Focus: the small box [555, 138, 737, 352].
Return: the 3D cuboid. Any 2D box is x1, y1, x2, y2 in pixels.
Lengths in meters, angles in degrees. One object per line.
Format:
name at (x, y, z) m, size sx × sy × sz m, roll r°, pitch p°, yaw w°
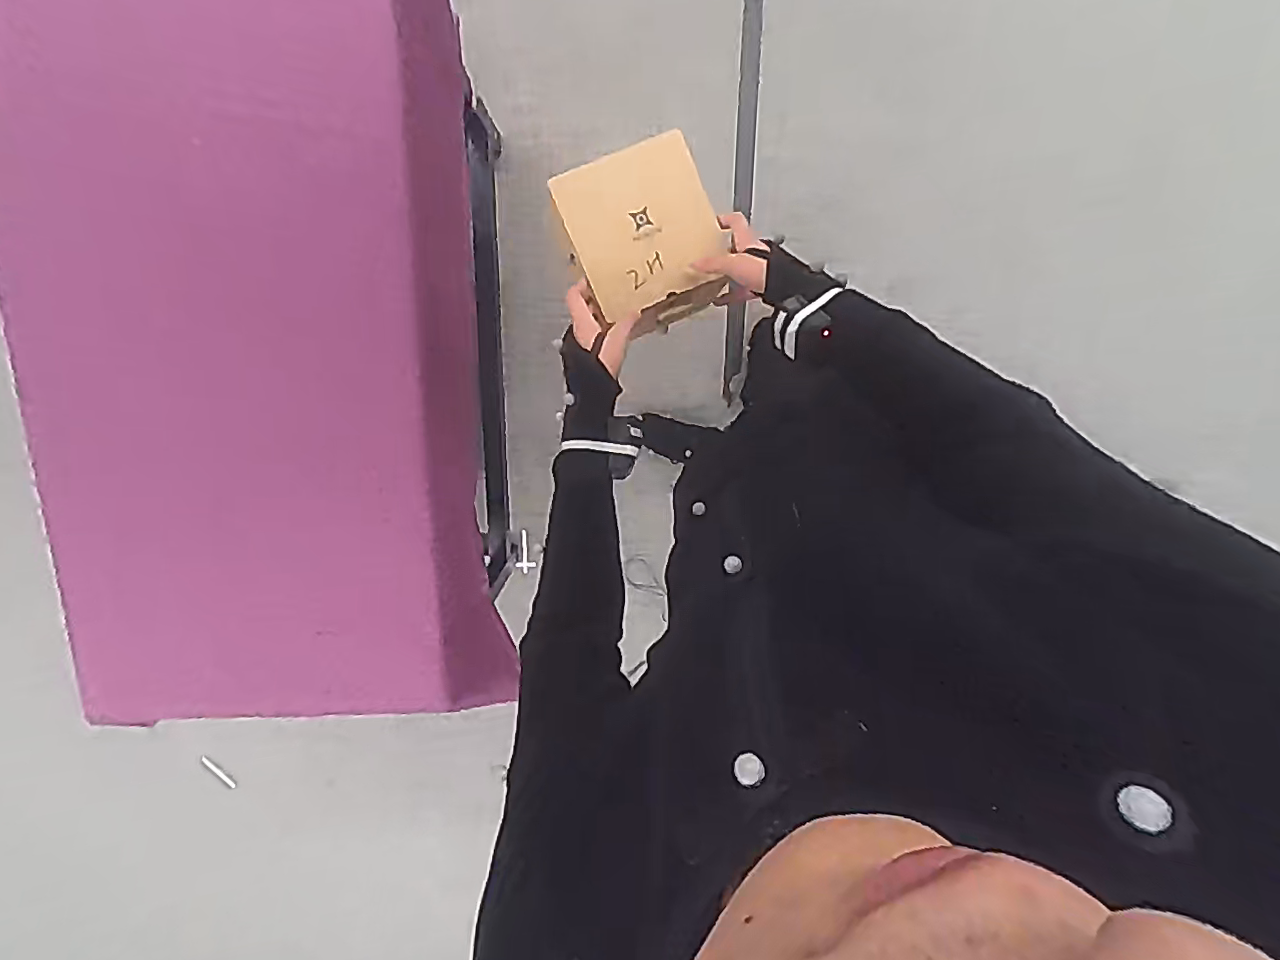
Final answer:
small box at (-0.001, -0.287, 0.698) m, size 0.168 × 0.176 × 0.179 m, roll -23°, pitch 95°, yaw -4°
